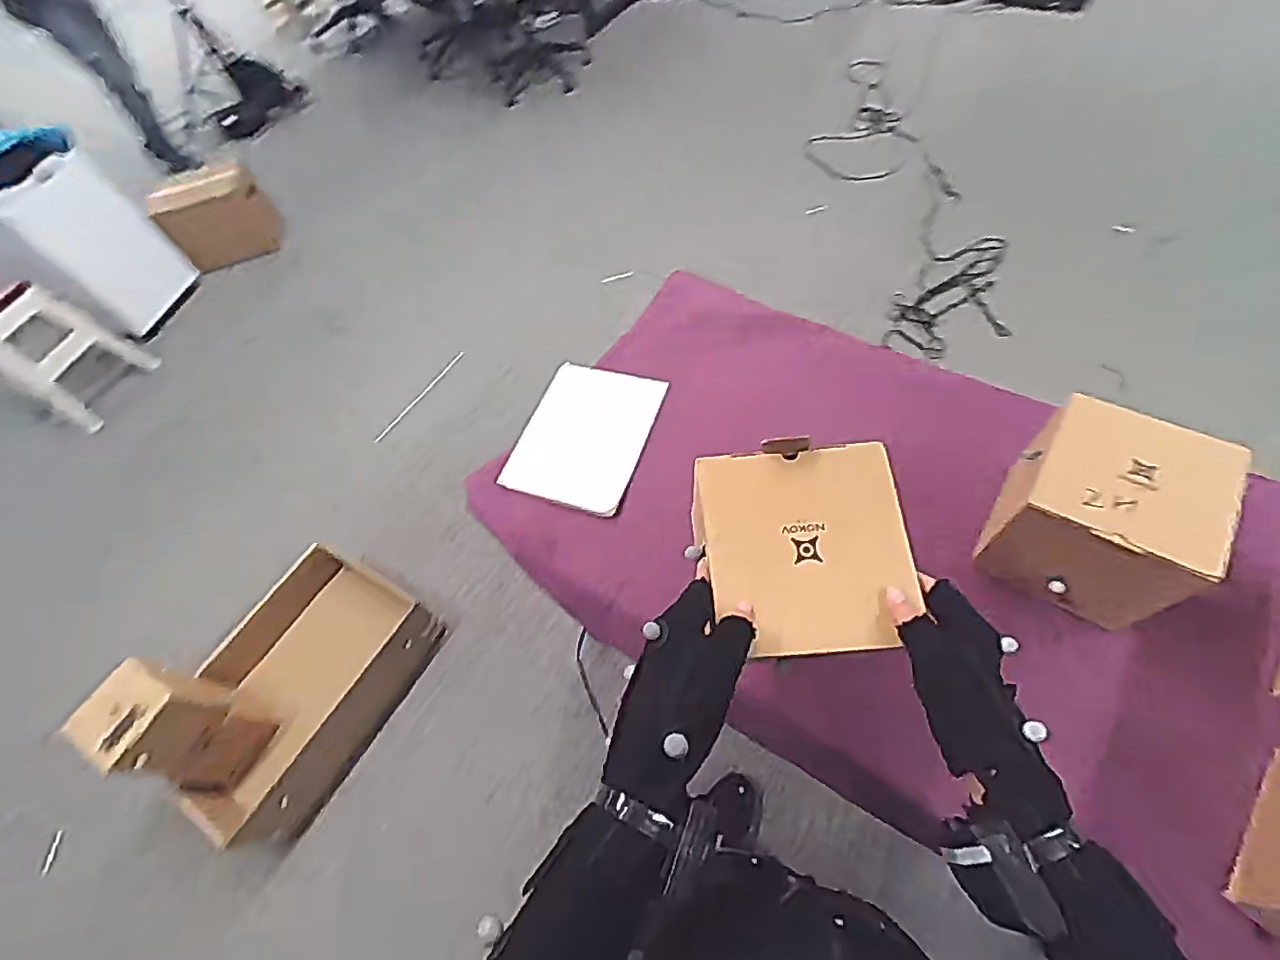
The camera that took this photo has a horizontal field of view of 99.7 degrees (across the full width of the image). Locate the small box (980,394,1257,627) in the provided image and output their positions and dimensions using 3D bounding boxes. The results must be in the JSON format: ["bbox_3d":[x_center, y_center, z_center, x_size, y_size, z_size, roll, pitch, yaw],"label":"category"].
[{"bbox_3d":[0.535,0.040,0.629,0.168,0.176,0.179,29,68,23],"label":"small box"}]
